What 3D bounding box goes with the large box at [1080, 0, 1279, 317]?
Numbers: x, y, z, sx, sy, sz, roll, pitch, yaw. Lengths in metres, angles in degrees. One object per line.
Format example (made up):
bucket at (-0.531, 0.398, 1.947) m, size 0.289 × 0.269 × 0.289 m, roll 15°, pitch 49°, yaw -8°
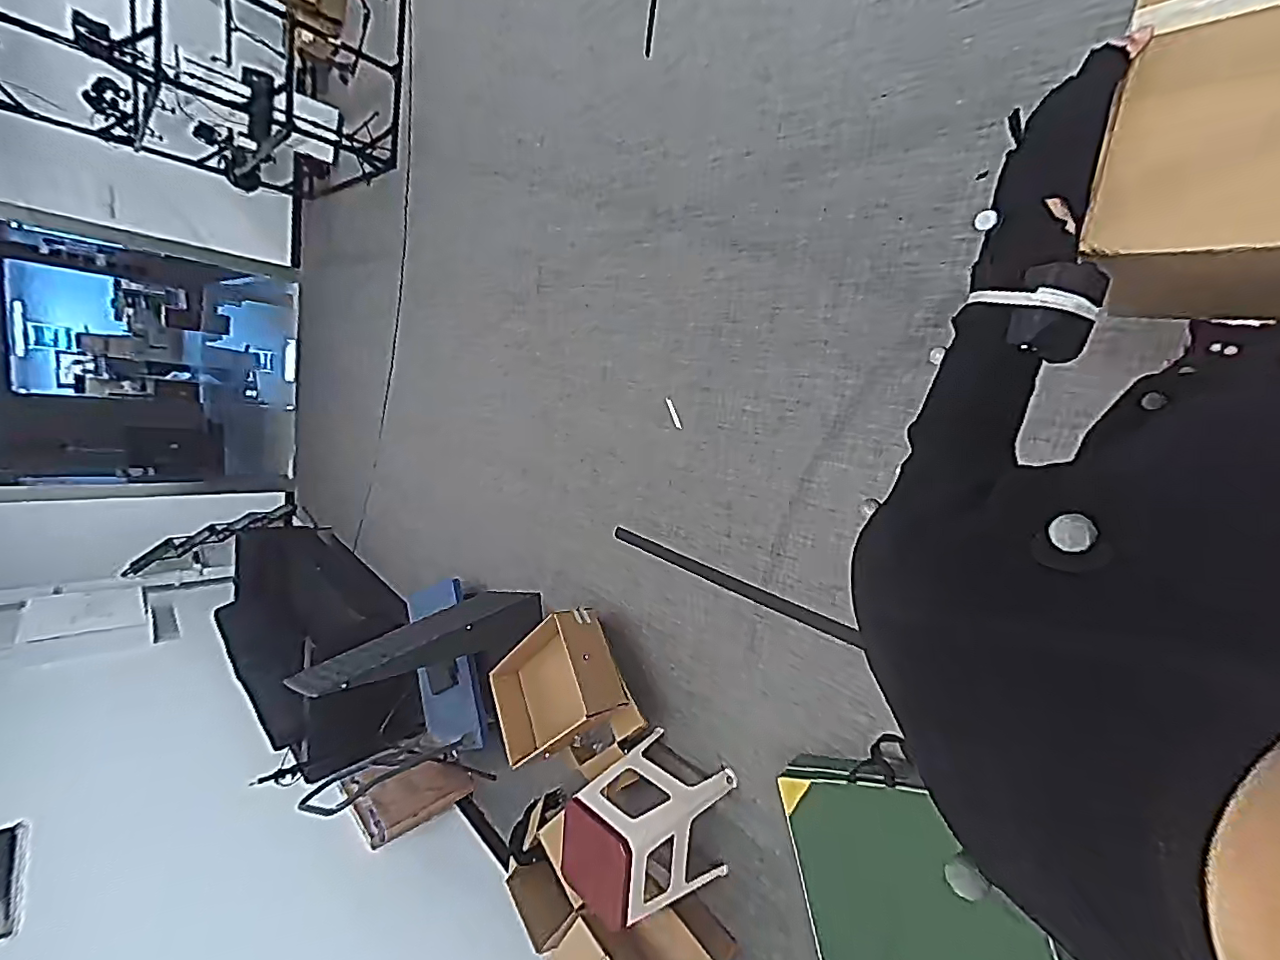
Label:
large box at (0.607, -0.299, 0.380) m, size 0.408 × 0.320 × 0.320 m, roll 17°, pitch 105°, yaw 42°
